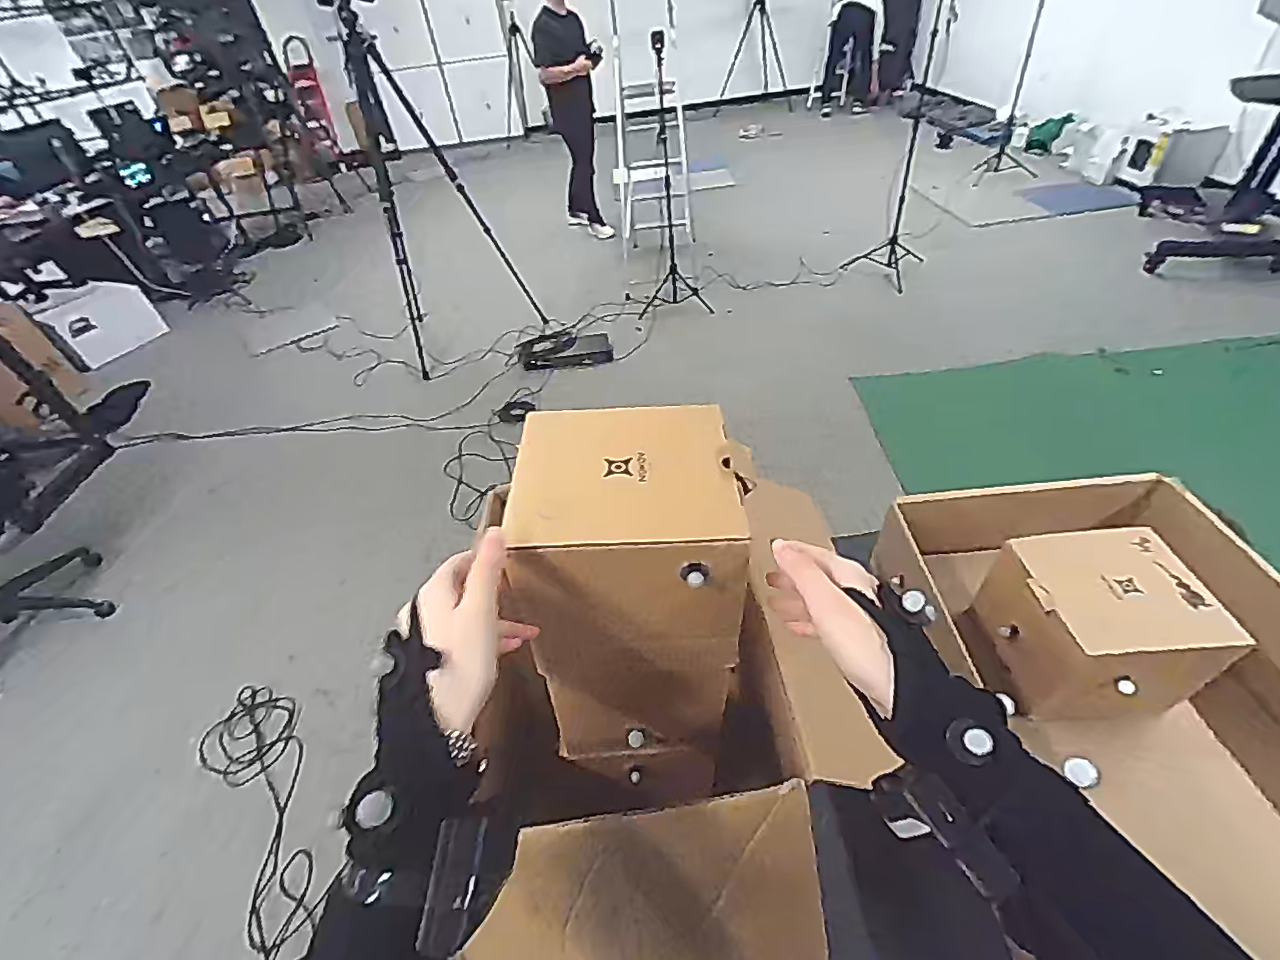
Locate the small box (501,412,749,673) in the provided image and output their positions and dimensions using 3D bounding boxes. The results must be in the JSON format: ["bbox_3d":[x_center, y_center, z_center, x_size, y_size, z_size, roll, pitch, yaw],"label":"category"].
[{"bbox_3d":[-0.010,0.057,0.482,0.179,0.176,0.168,-2,41,-1],"label":"small box"}]
